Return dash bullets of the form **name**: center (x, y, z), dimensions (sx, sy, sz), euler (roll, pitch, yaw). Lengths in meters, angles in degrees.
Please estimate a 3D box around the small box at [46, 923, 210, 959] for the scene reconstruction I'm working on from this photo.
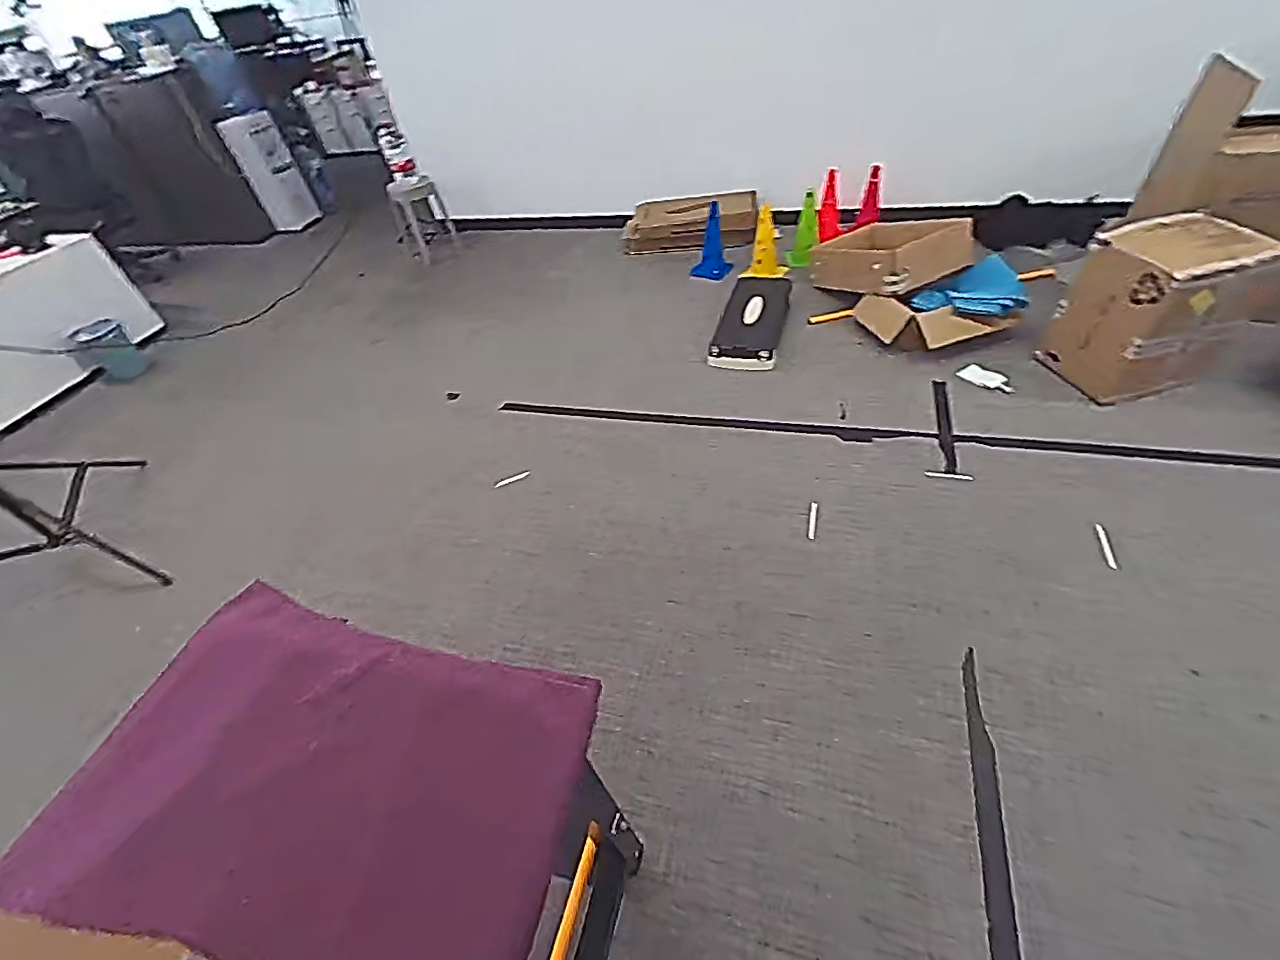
- **small box**: center (-0.422, 0.482, 0.415), dimensions (0.179, 0.176, 0.168), euler (8, 48, 17)
